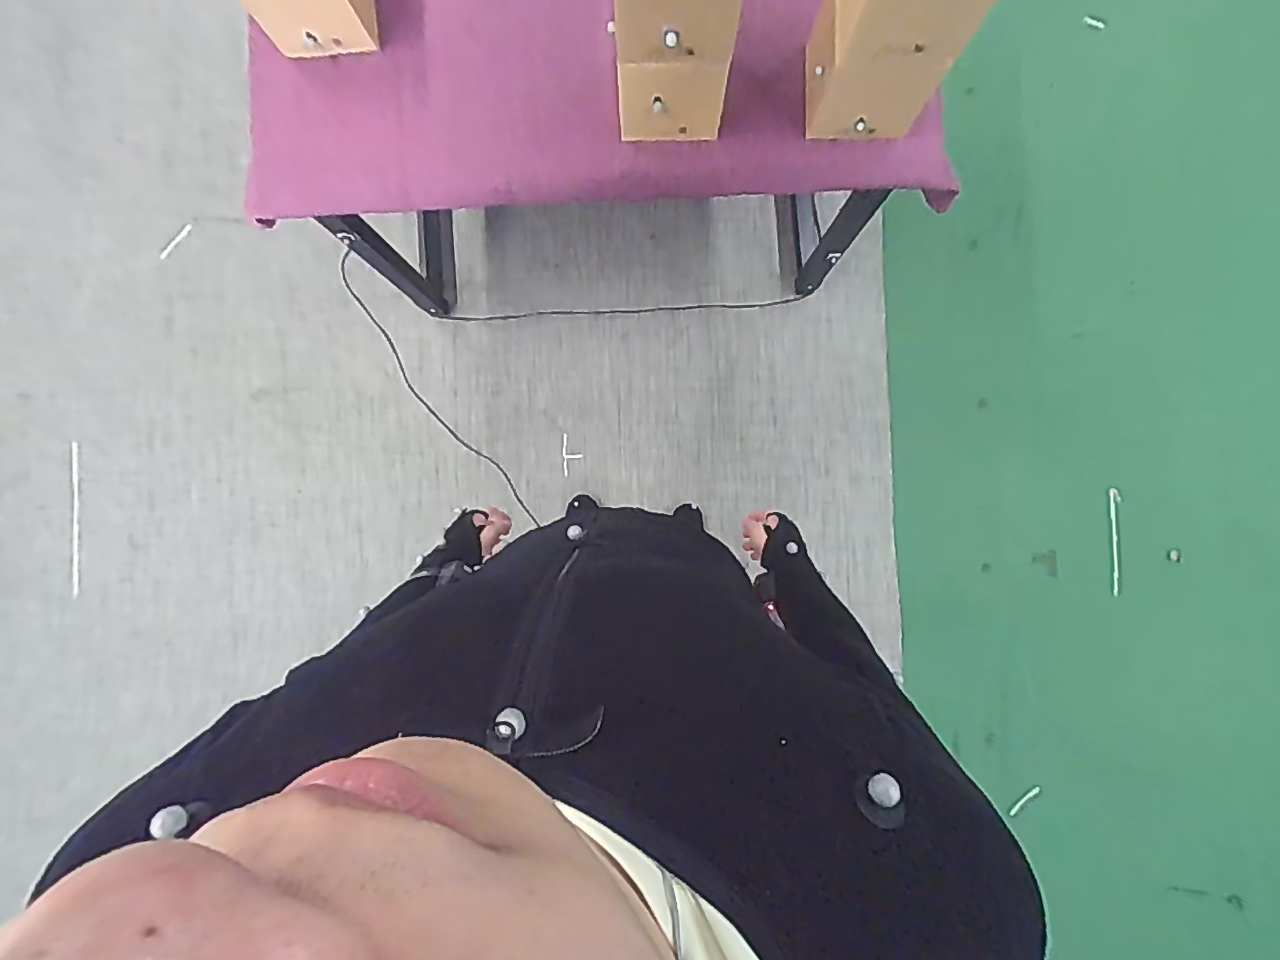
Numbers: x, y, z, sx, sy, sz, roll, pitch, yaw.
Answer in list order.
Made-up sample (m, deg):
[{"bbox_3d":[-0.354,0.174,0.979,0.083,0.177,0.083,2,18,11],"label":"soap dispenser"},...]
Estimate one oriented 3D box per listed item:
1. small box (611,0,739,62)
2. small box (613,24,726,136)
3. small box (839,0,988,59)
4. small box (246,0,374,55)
[{"bbox_3d":[0.045,-0.692,0.699,0.168,0.176,0.179,0,88,1],"label":"small box"},{"bbox_3d":[0.046,-0.682,0.863,0.168,0.176,0.179,0,87,1],"label":"small box"},{"bbox_3d":[0.362,-0.691,0.691,0.168,0.176,0.179,1,87,2],"label":"small box"},{"bbox_3d":[-0.555,-0.843,0.875,0.168,0.176,0.179,-5,89,1],"label":"small box"}]
